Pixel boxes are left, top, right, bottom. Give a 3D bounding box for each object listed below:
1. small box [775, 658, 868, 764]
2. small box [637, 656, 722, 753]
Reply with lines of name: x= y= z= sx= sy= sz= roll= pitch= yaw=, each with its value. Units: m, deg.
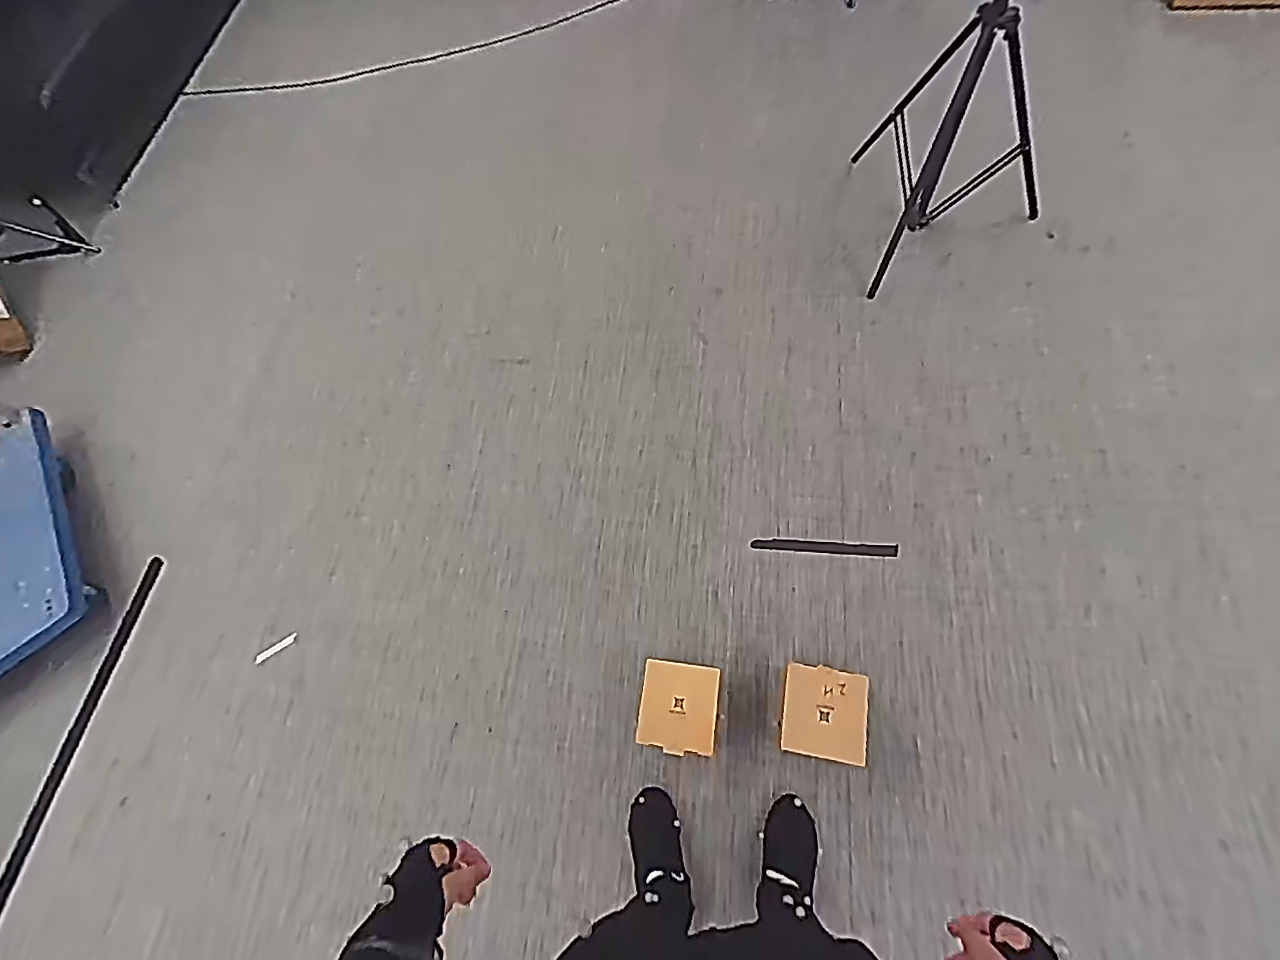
small box: x=0.391 y=0.499 z=1.180 sx=0.168 sy=0.176 sz=0.179 roll=7 pitch=68 yaw=11
small box: x=0.096 y=0.507 z=1.228 sx=0.168 sy=0.176 sz=0.179 roll=4 pitch=68 yaw=11
